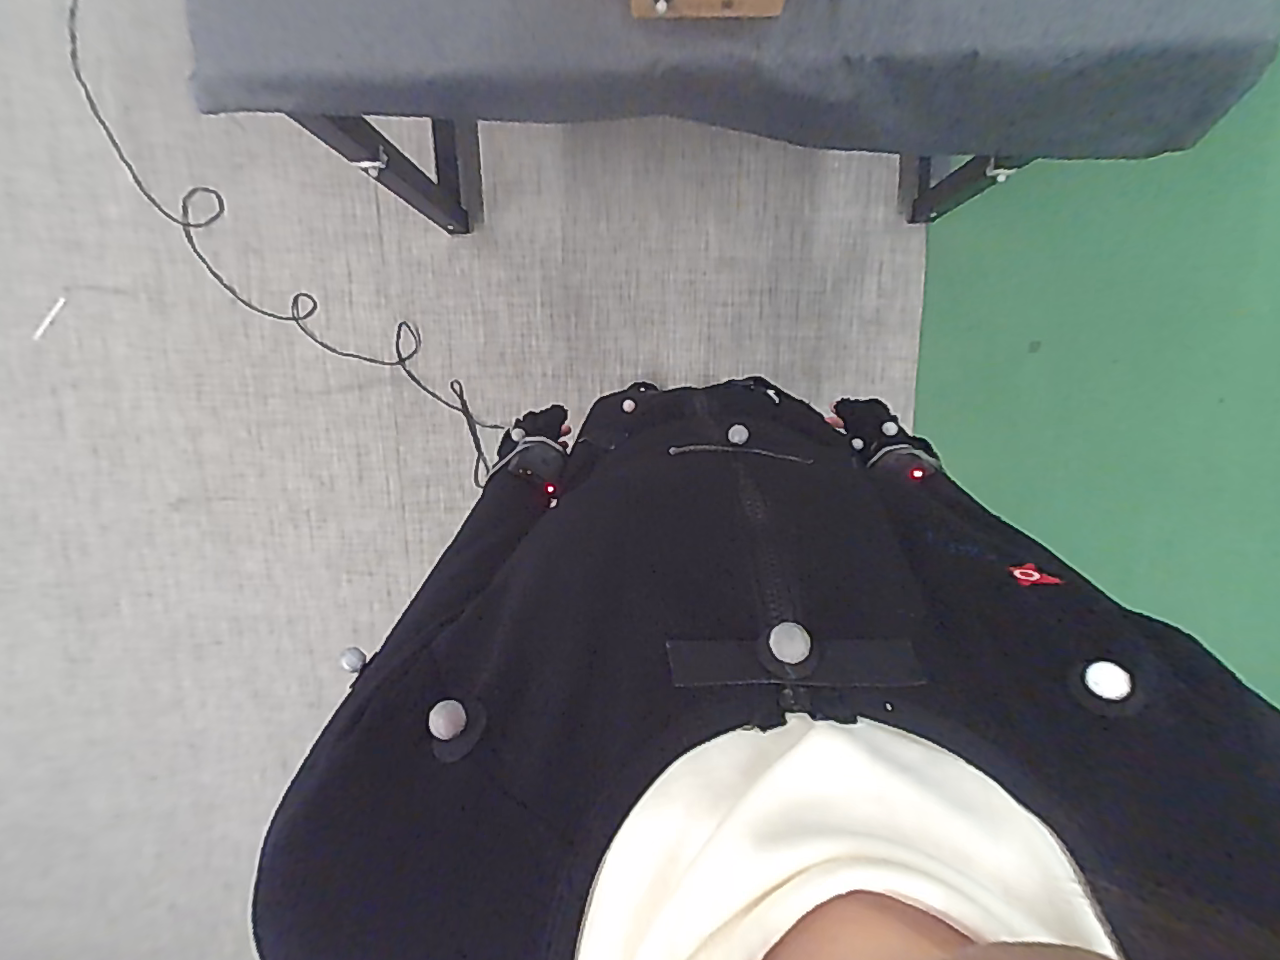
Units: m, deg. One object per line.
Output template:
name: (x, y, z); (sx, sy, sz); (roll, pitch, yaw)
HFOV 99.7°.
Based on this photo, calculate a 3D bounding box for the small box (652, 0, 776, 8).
small box: (0.074, -0.601, 0.518); (0.168, 0.176, 0.179); (1, 98, 1)
